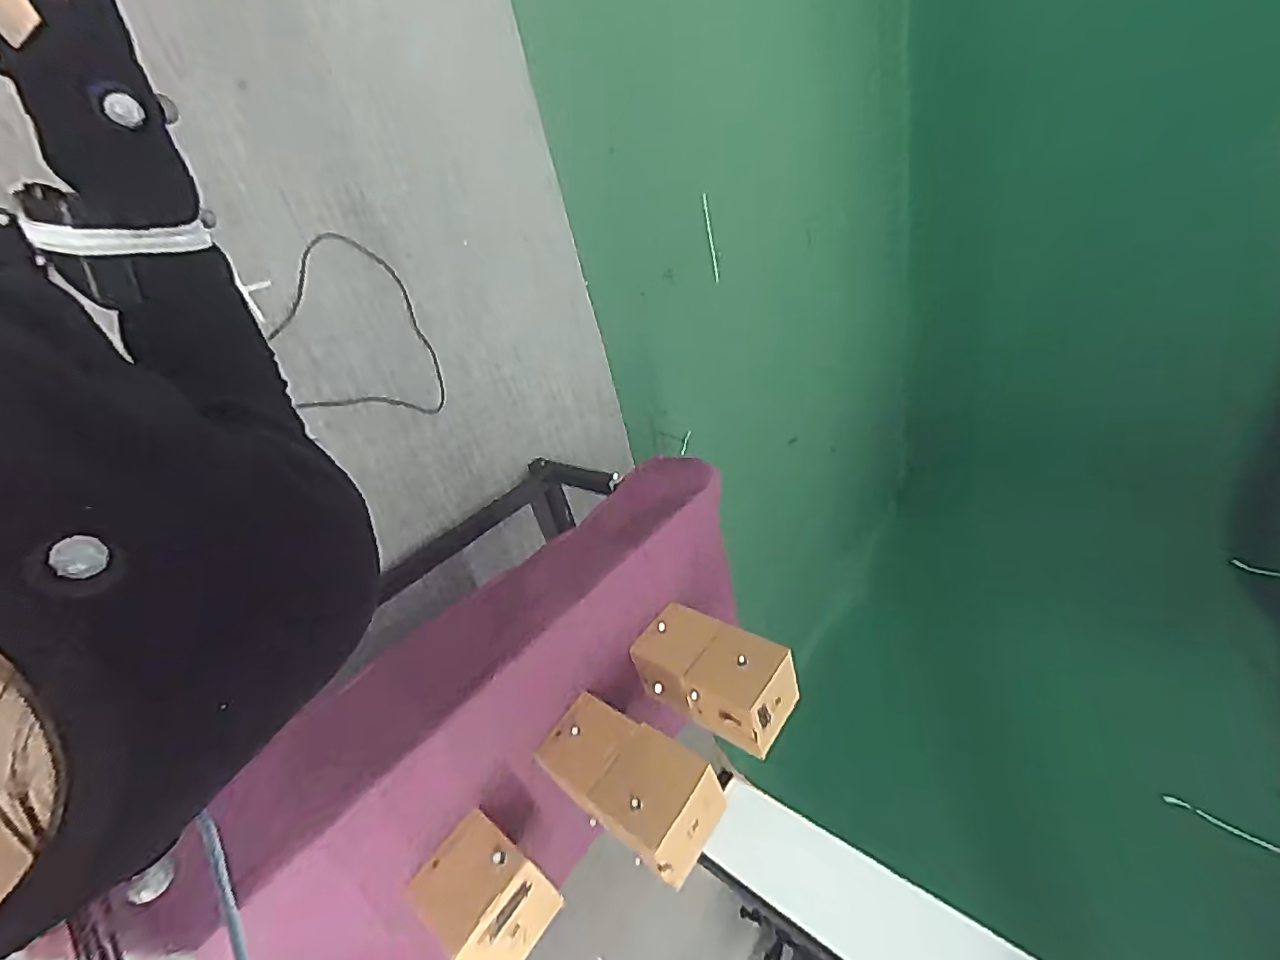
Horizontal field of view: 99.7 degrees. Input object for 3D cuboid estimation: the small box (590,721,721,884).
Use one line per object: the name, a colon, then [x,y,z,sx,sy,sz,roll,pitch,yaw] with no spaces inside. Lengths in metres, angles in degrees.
small box: [0.025,0.608,1.037,0.179,0.176,0.168,-44,130,-32]

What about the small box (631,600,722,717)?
small box: [0.096,0.424,1.311,0.179,0.176,0.168,-40,127,-34]

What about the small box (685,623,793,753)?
small box: [0.216,0.454,1.201,0.179,0.176,0.168,-41,127,-35]

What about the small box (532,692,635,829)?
small box: [-0.095,0.584,1.145,0.168,0.176,0.179,-45,129,-31]
